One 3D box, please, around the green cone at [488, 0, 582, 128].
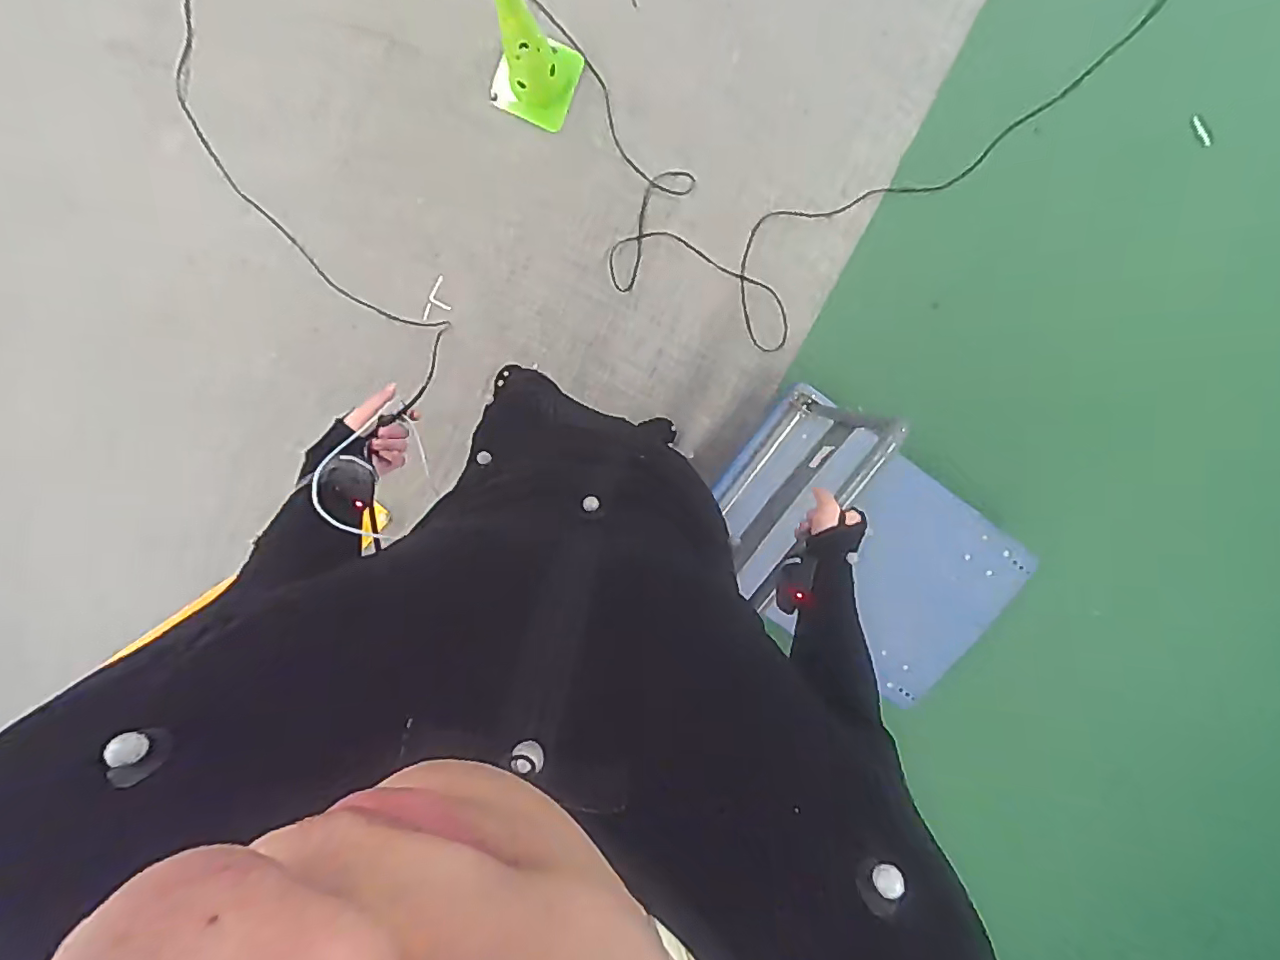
[{"bbox_3d":[-0.266,-1.001,1.212,0.200,0.368,0.202,22,99,-5],"label":"green cone"}]
